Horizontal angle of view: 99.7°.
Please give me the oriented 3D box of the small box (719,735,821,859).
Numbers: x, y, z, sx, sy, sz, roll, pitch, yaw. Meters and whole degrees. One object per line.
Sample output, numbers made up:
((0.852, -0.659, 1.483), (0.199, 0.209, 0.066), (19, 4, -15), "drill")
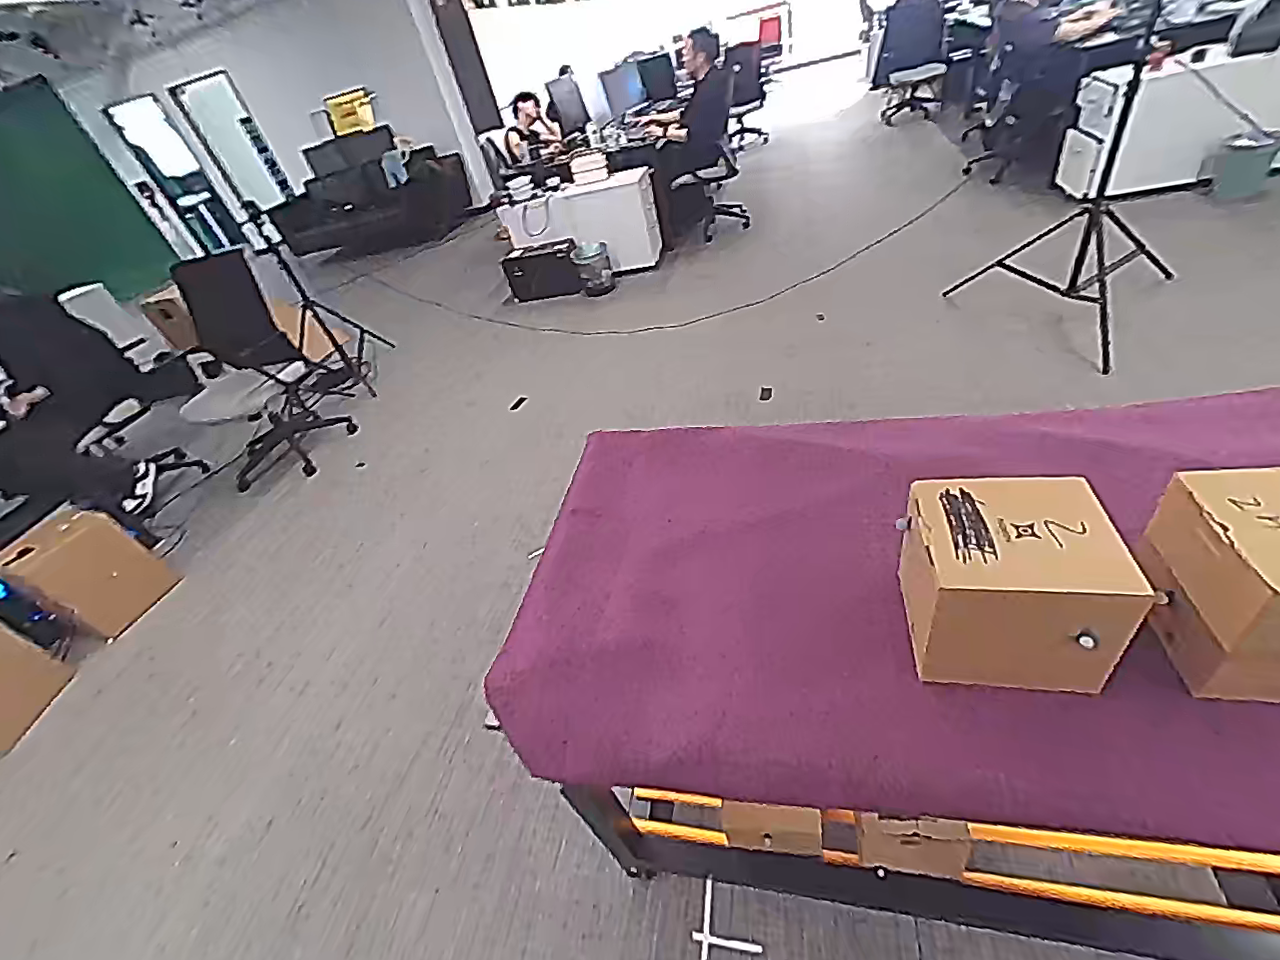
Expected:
((0.251, 0.618, 1.053), (0.179, 0.176, 0.168), (-5, 41, 13), "small box")

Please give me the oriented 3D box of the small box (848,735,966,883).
((0.477, 0.601, 0.991), (0.168, 0.176, 0.179), (-3, 34, 15), "small box")
